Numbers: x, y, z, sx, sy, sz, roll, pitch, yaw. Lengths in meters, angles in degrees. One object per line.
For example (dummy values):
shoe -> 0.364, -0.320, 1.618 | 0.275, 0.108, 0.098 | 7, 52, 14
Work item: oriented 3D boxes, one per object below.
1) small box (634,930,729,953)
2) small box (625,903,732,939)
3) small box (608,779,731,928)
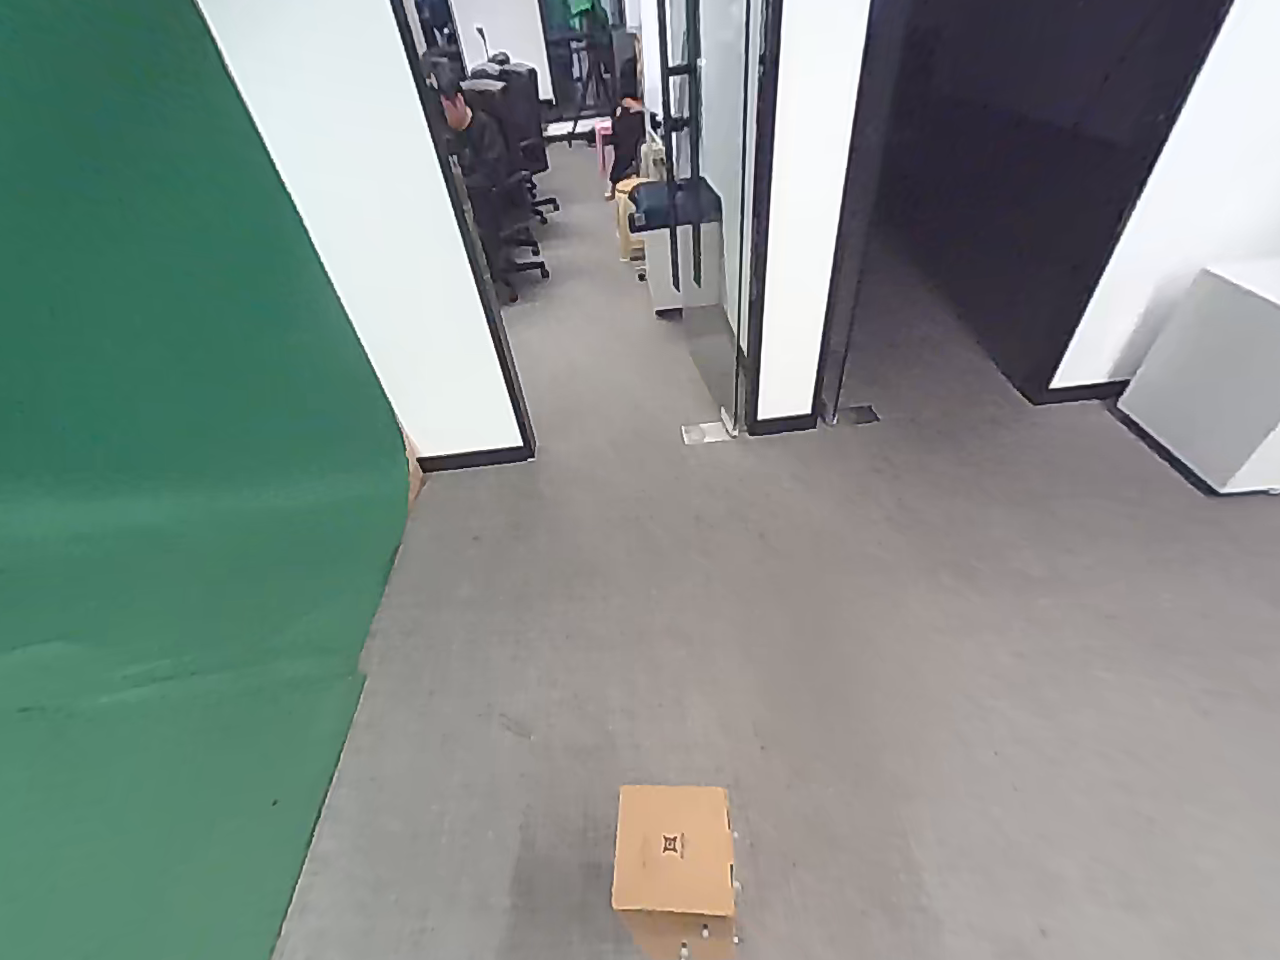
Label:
small box -> 0.087, 0.839, 1.098 | 0.179, 0.176, 0.168 | -3, 42, 6
small box -> 0.070, 0.722, 0.988 | 0.179, 0.176, 0.168 | -4, 44, 5
small box -> 0.053, 0.603, 0.875 | 0.179, 0.176, 0.168 | -3, 42, 7
